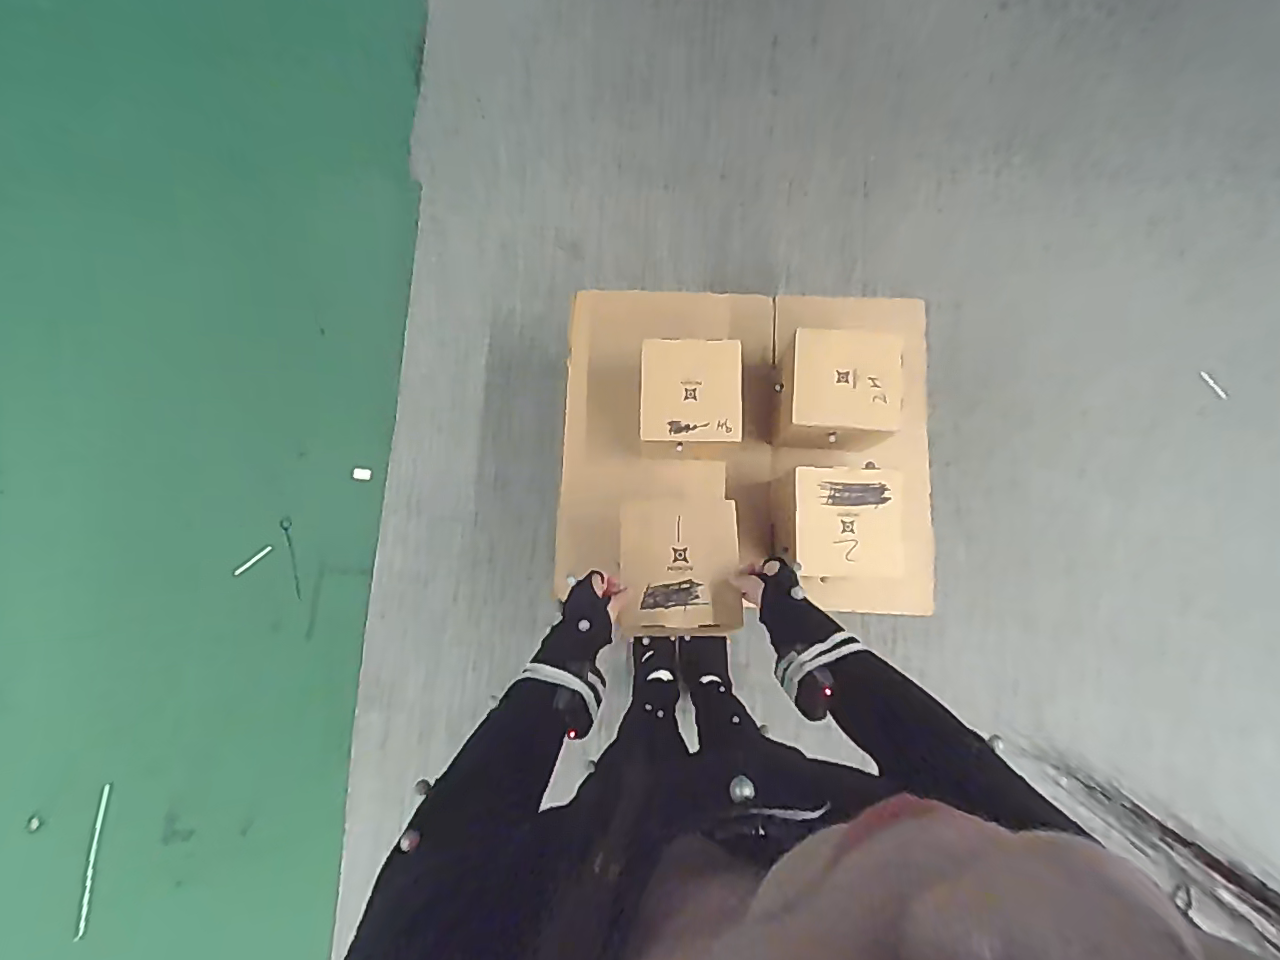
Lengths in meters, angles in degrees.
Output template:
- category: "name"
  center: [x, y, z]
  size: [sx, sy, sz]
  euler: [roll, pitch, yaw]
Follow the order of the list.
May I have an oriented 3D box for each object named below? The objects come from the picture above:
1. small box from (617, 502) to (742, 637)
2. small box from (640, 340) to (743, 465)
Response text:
- category: "small box"
  center: [0.057, 0.140, 0.804]
  size: [0.168, 0.176, 0.179]
  euler: [-1, 69, 2]
- category: "small box"
  center: [0.088, -0.131, 0.956]
  size: [0.168, 0.176, 0.179]
  euler: [1, 80, 4]
